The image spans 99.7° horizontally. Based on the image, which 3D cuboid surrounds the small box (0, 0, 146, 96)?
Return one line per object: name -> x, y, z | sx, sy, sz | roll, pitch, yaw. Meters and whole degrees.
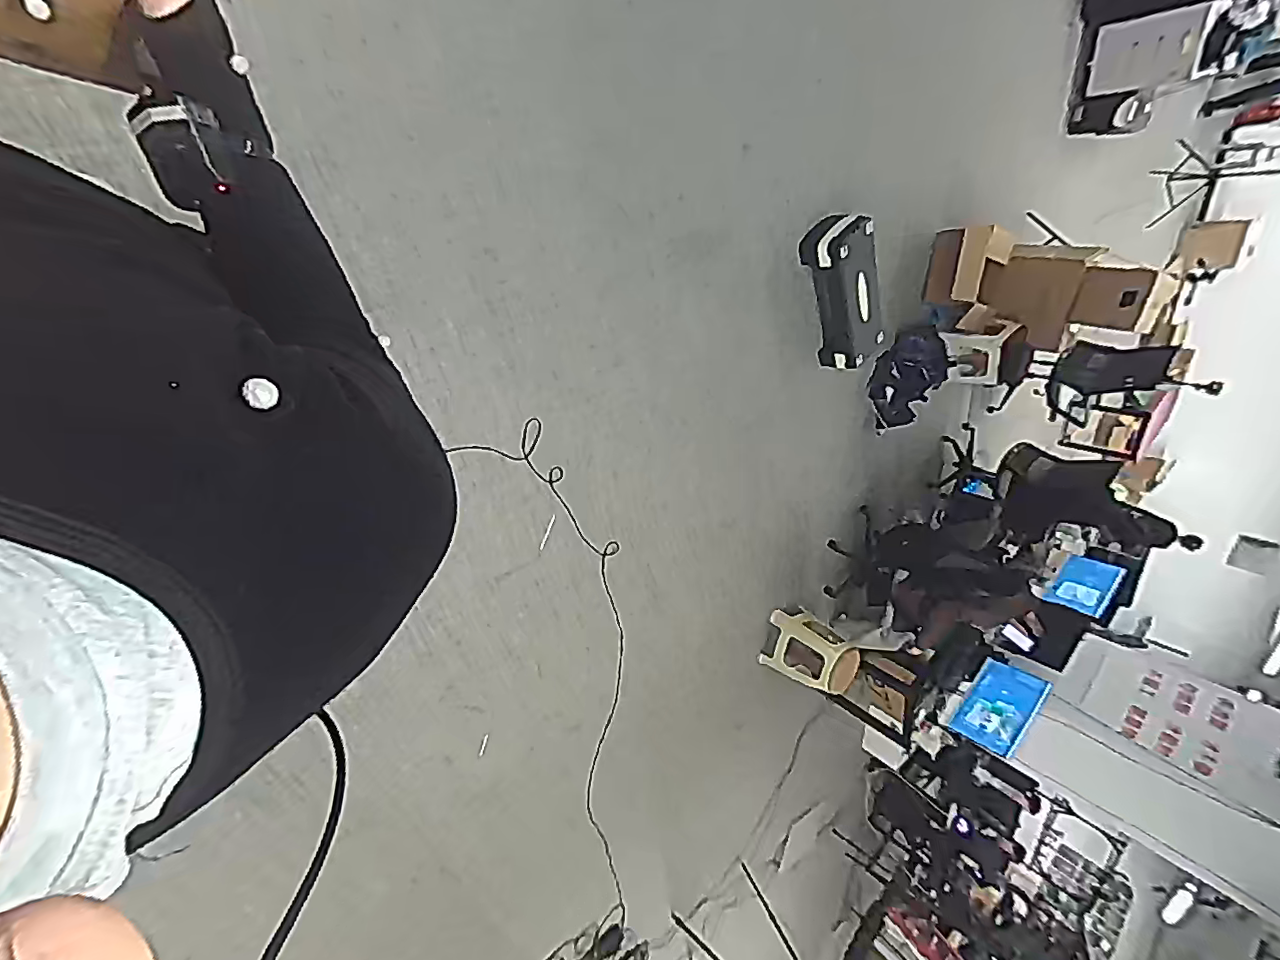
small box -> -0.432, -0.394, 0.337 | 0.168, 0.176, 0.179 | -6, 90, -39
